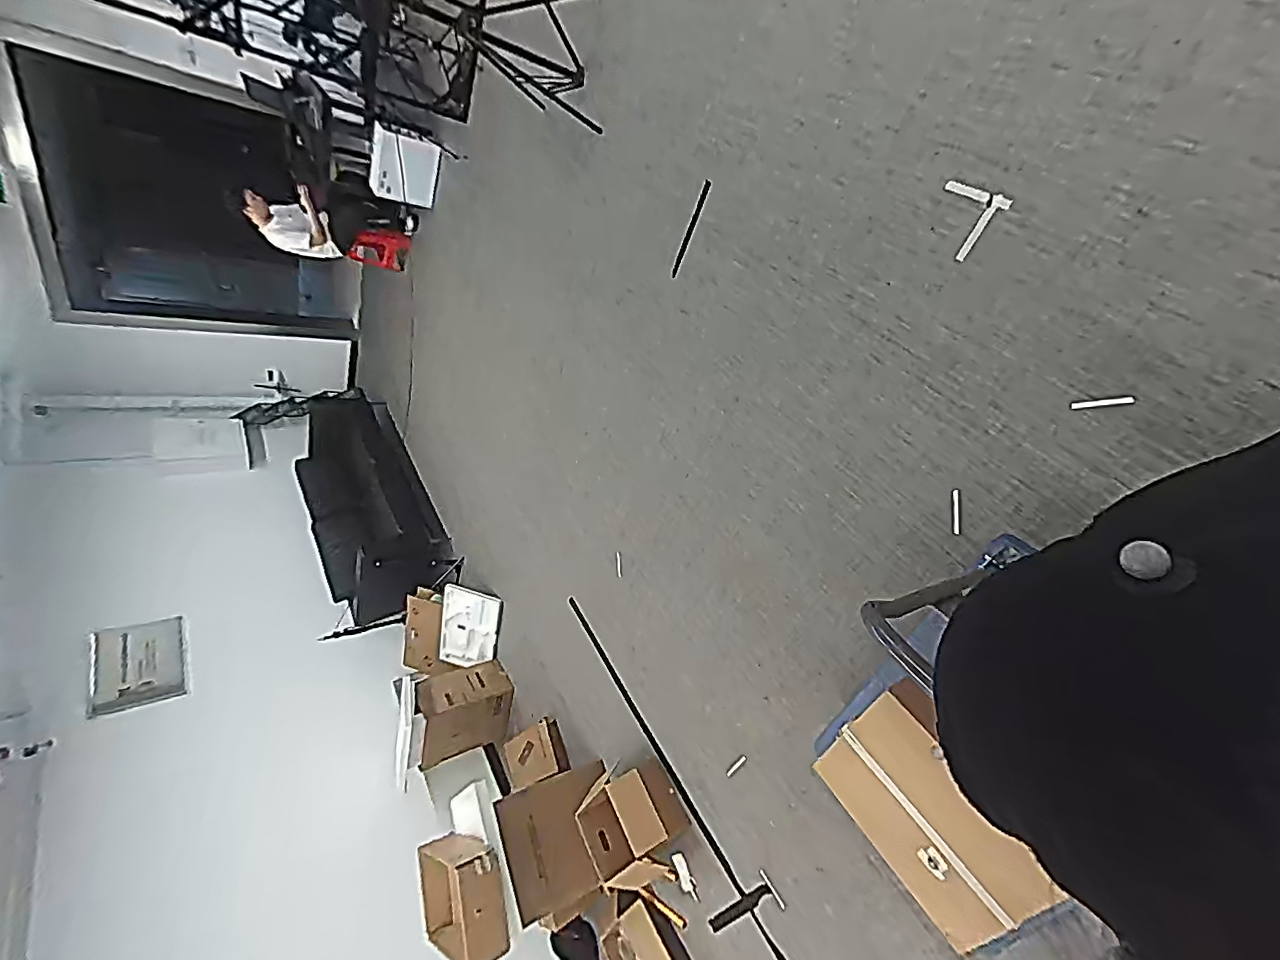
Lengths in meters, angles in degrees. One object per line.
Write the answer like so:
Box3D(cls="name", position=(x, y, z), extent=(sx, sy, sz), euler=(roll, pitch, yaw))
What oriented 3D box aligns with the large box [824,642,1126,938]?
Box3D(cls="large box", position=(0.701, 0.634, 1.172), extent=(0.408, 0.320, 0.320), euler=(49, 130, 36))
